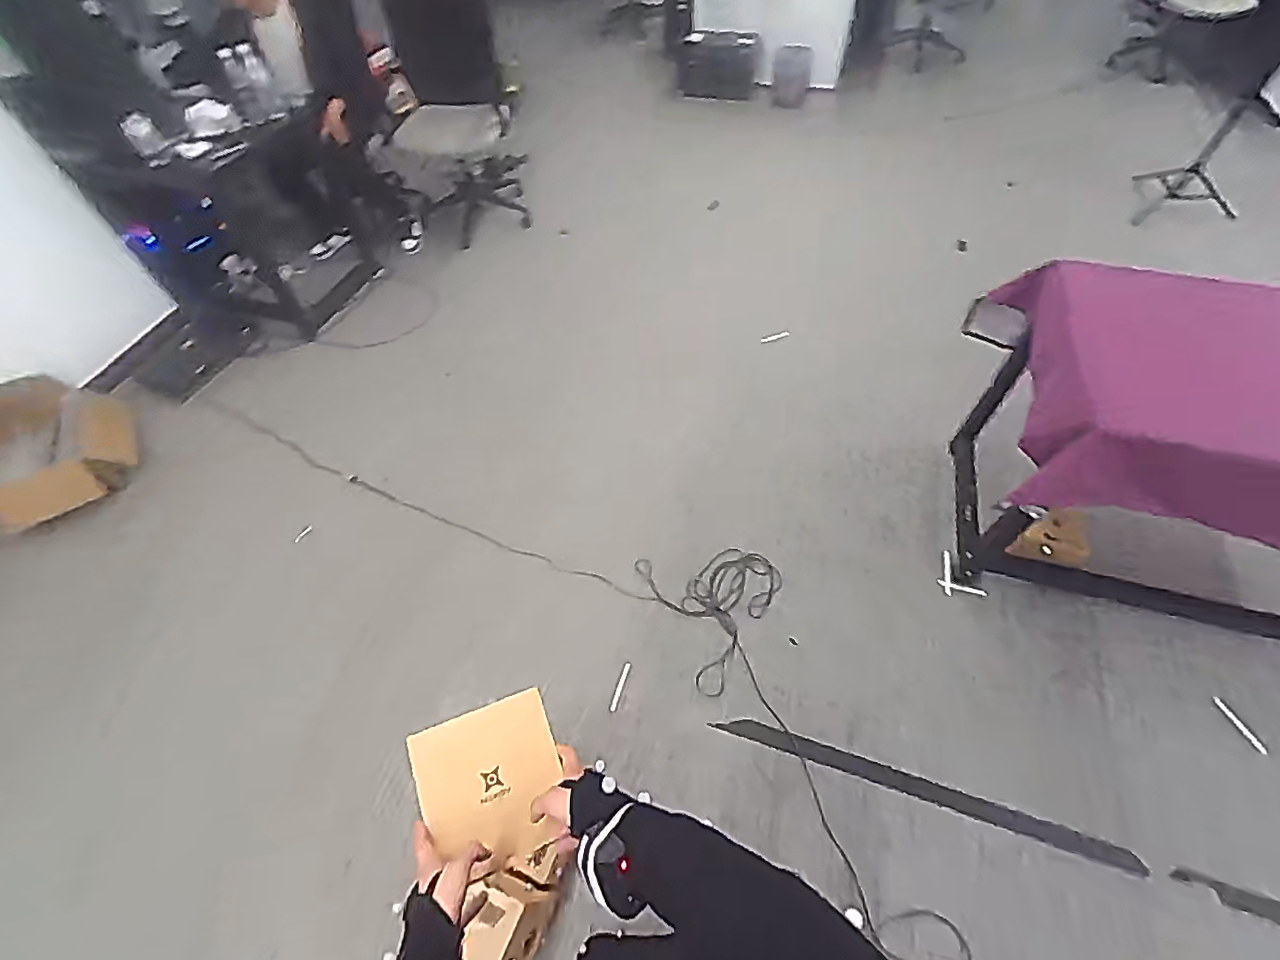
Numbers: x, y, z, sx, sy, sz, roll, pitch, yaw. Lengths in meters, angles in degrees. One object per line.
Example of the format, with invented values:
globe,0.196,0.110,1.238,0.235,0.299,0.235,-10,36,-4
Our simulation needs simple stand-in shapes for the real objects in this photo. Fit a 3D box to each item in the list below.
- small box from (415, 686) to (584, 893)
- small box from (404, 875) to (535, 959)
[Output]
small box,-0.185,0.395,0.712,0.168,0.176,0.179,-14,68,-19
small box,-0.318,0.879,1.038,0.168,0.176,0.179,18,58,16
